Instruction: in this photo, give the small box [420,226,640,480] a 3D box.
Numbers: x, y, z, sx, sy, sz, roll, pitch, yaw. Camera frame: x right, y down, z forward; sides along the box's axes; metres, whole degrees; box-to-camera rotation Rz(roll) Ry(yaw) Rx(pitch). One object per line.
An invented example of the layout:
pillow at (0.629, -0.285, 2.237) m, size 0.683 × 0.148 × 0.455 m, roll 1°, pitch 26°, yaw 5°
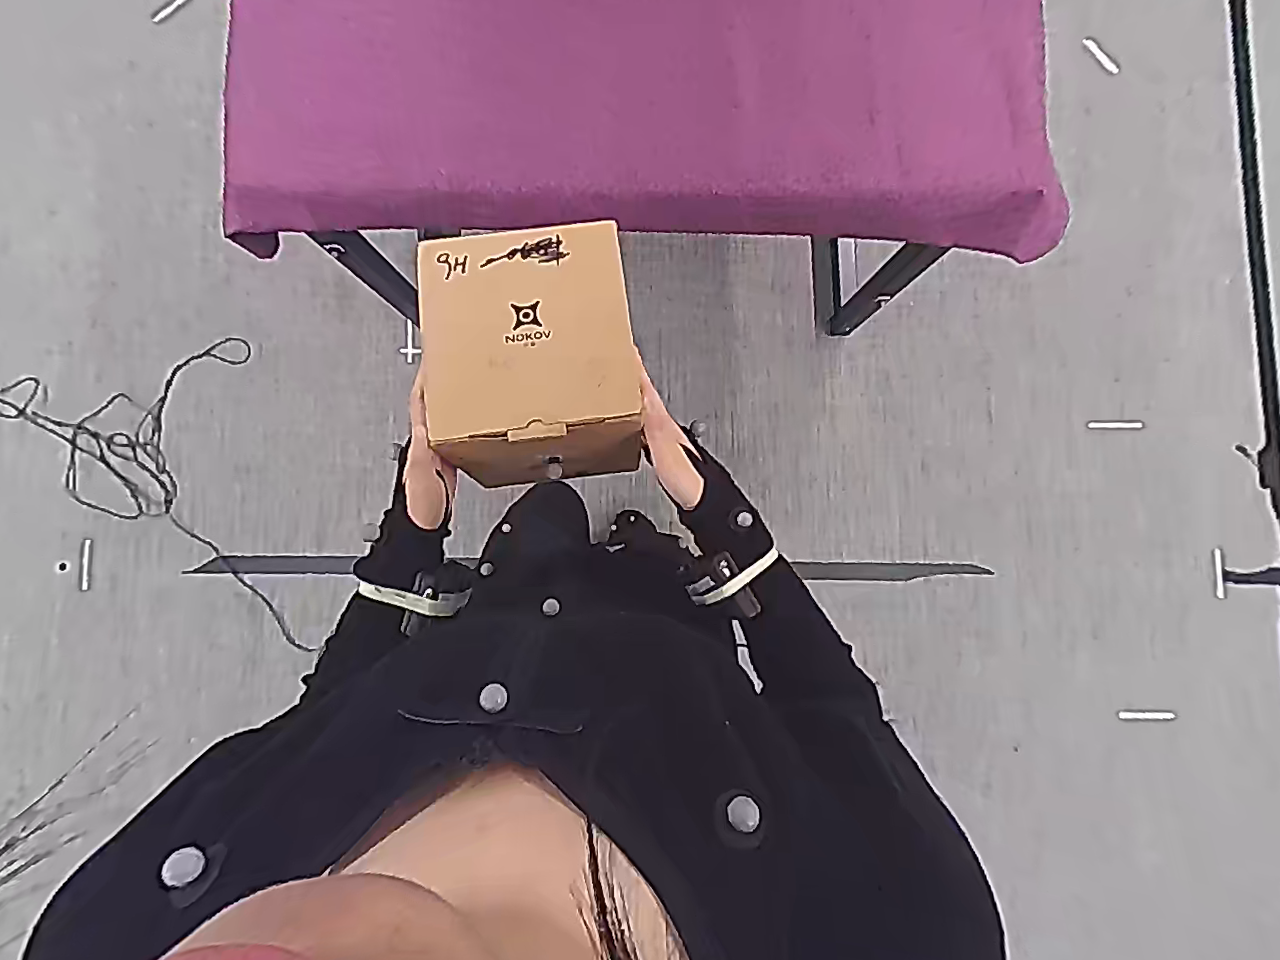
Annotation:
small box at (-0.090, -0.101, 0.507) m, size 0.168 × 0.176 × 0.179 m, roll -7°, pitch 78°, yaw -2°
